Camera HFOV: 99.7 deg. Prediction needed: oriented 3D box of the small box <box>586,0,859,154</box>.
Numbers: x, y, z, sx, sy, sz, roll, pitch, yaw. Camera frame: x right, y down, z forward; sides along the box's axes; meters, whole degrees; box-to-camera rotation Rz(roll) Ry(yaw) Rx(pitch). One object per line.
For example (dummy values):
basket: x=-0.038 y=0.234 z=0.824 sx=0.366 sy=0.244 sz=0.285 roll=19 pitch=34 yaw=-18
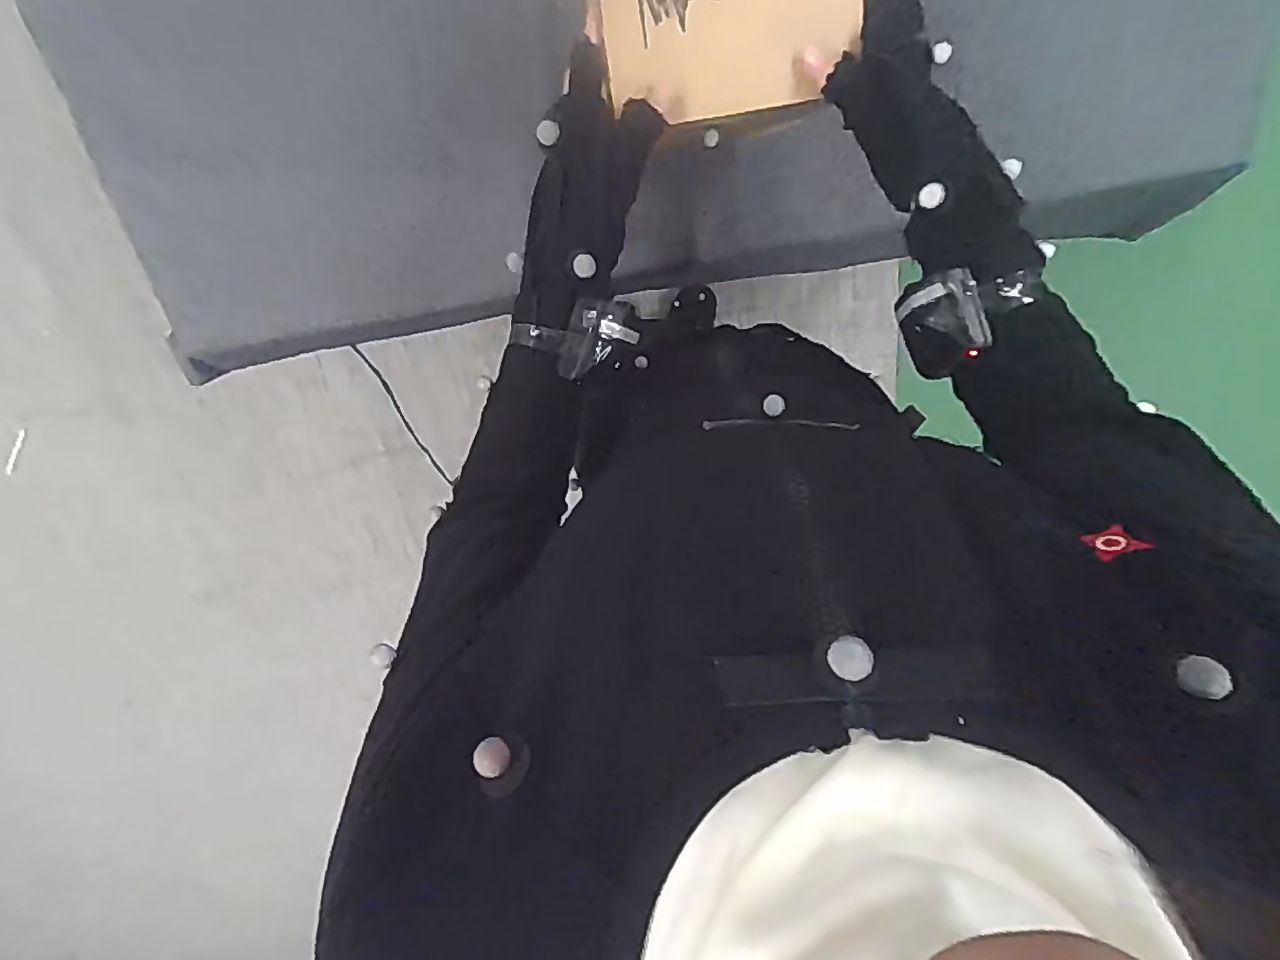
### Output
small box: x=0.049 y=-0.358 z=0.409 sx=0.179 sy=0.176 sz=0.168 roll=-8 pitch=116 yaw=1
